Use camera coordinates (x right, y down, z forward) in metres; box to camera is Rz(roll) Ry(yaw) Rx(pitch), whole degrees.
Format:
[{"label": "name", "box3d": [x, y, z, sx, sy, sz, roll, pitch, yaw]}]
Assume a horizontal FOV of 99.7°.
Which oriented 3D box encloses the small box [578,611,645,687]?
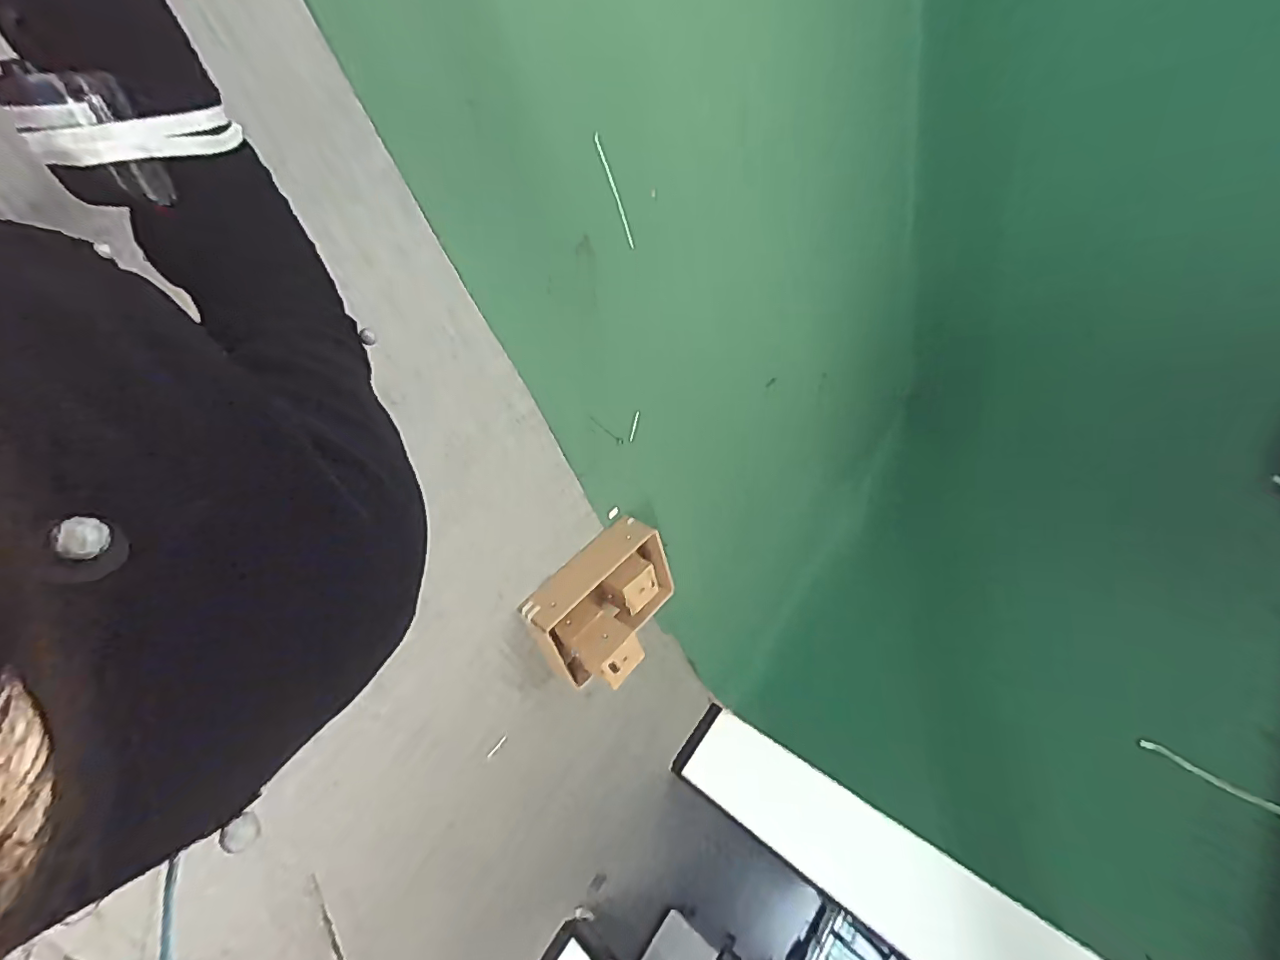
[{"label": "small box", "box3d": [-0.113, 0.631, 2.036, 0.179, 0.176, 0.168, -42, 133, -29]}]
